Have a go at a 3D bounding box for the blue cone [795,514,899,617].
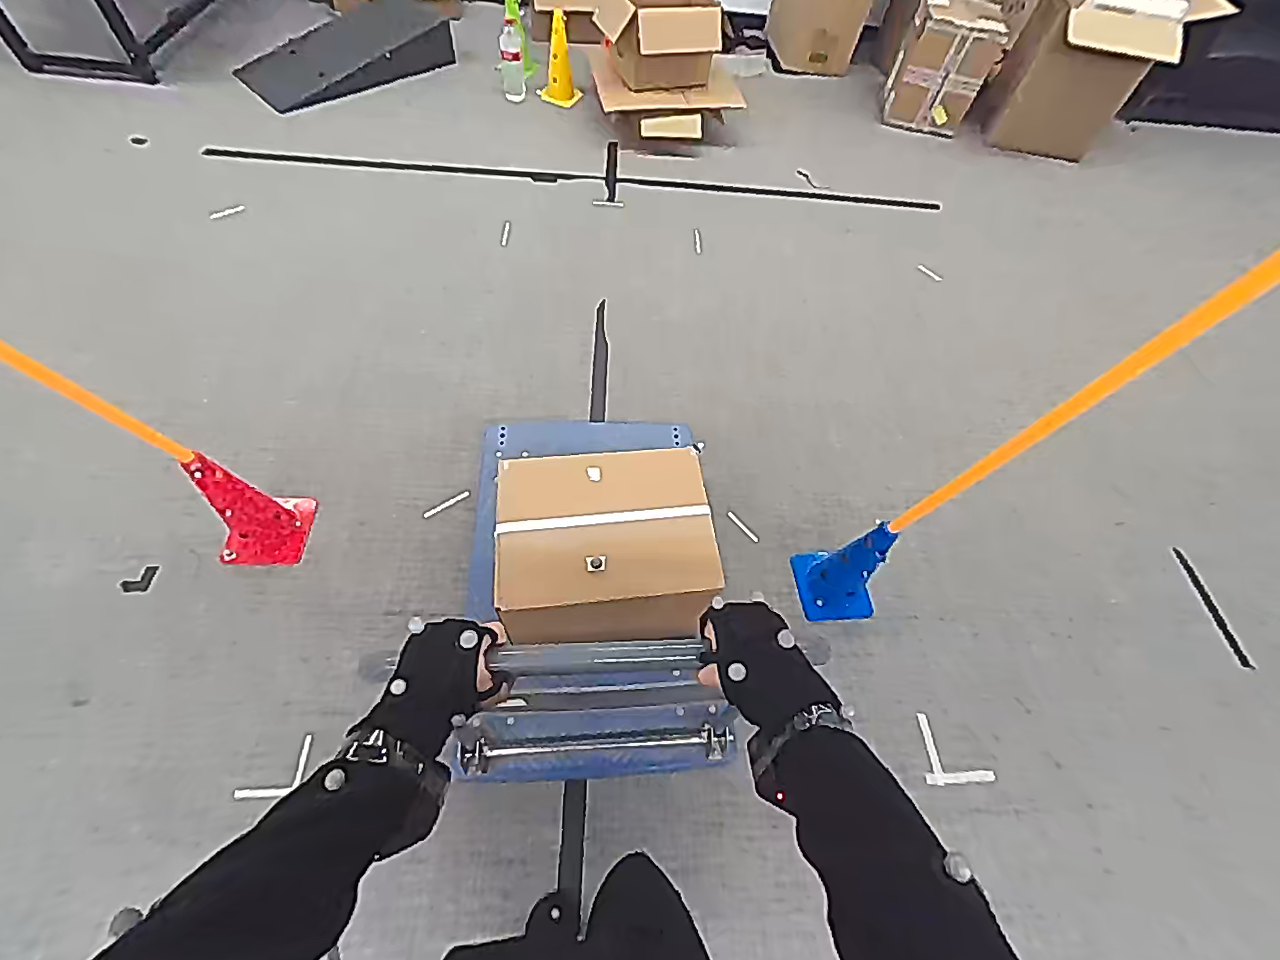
[{"bbox_3d":[0.559,0.202,1.381,0.193,0.380,0.192,-1,57,-7],"label":"blue cone"}]
